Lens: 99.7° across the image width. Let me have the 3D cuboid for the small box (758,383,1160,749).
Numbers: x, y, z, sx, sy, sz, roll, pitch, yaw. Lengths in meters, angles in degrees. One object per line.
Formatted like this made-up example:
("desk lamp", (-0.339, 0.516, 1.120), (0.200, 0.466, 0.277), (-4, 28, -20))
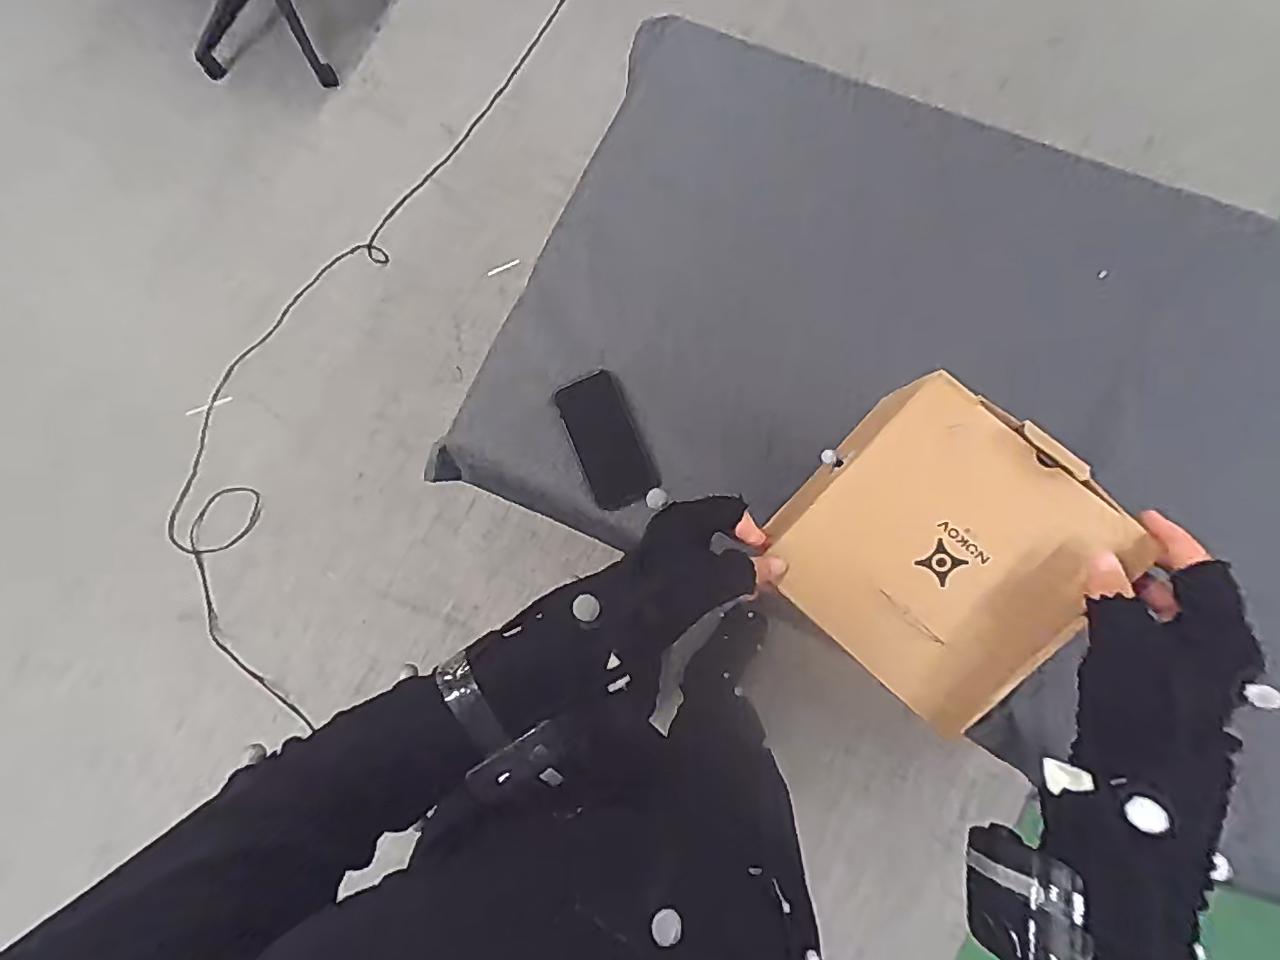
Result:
("small box", (0.209, 0.053, 0.418), (0.168, 0.176, 0.179), (42, 100, 11))
